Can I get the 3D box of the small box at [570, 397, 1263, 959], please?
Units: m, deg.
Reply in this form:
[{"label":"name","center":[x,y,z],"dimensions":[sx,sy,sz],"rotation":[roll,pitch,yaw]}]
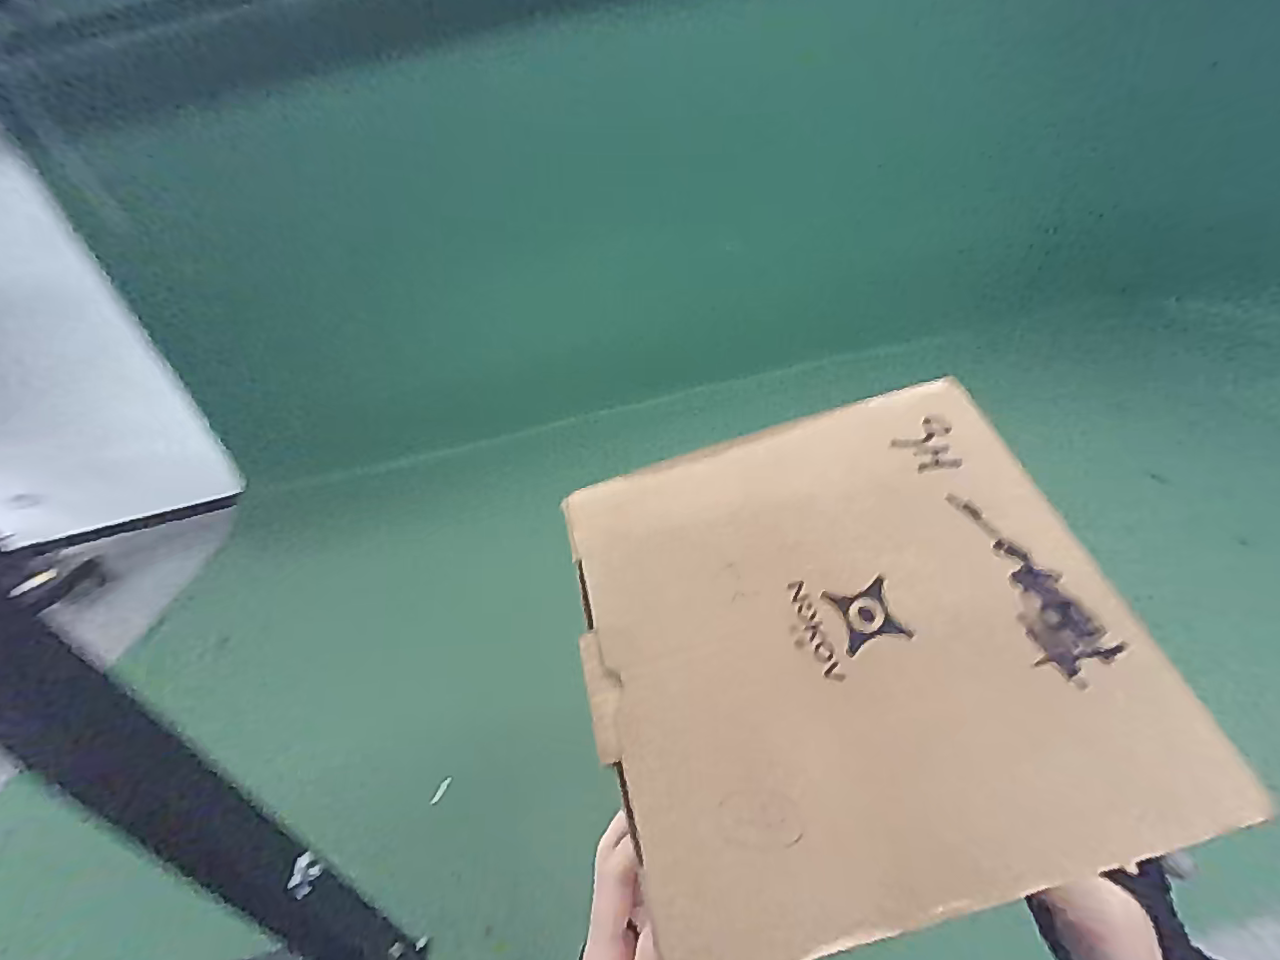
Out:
[{"label":"small box","center":[0.085,0.095,0.258],"dimensions":[0.179,0.176,0.168],"rotation":[-17,59,2]}]
